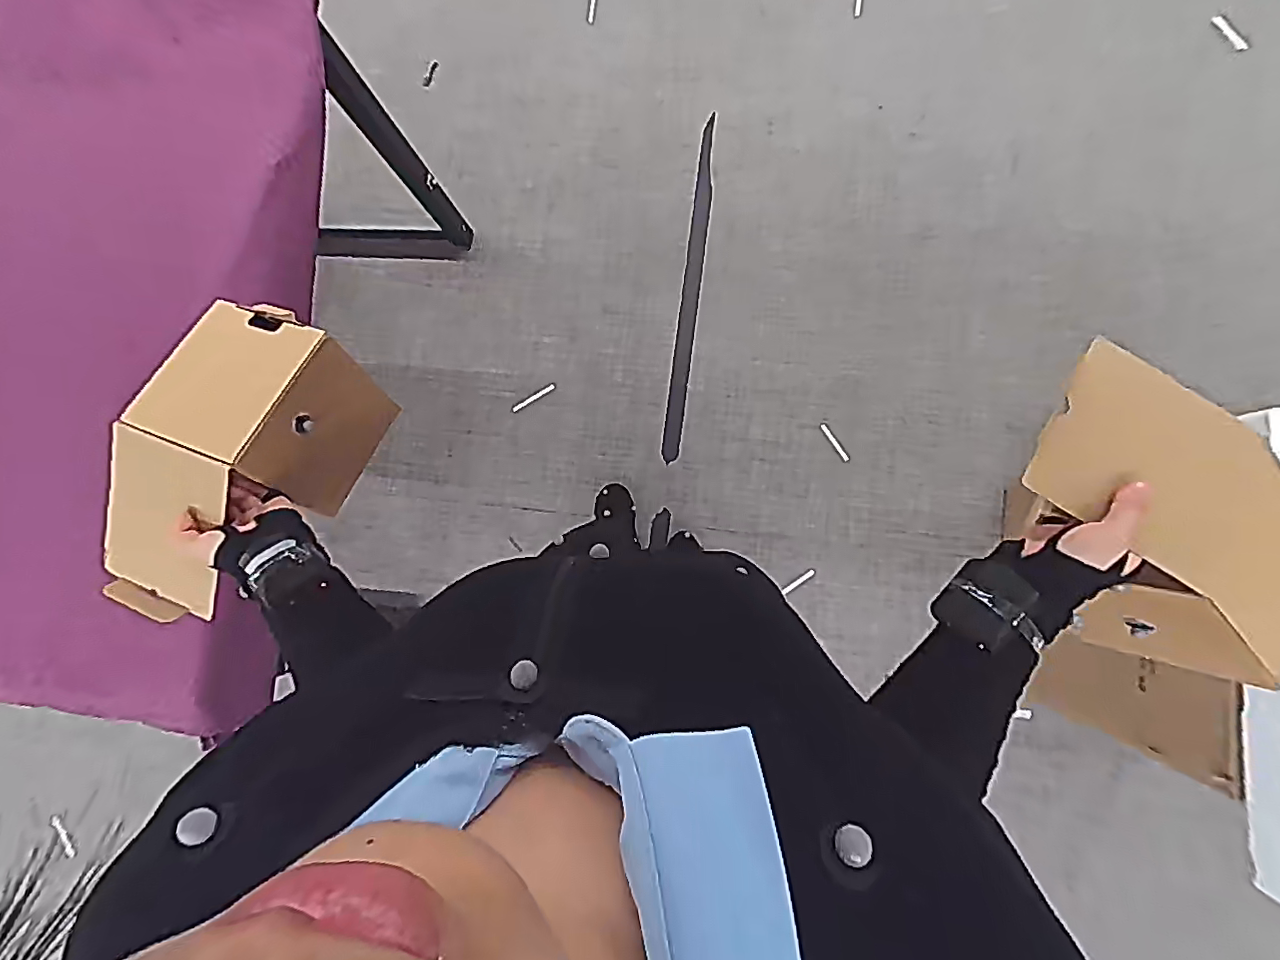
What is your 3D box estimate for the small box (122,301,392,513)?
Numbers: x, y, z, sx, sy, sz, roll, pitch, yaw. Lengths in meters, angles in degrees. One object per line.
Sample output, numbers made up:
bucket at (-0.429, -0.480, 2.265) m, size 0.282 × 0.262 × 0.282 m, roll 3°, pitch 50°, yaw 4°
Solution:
small box at (-0.443, -0.080, 0.662) m, size 0.168 × 0.176 × 0.179 m, roll 18°, pitch 69°, yaw 13°
